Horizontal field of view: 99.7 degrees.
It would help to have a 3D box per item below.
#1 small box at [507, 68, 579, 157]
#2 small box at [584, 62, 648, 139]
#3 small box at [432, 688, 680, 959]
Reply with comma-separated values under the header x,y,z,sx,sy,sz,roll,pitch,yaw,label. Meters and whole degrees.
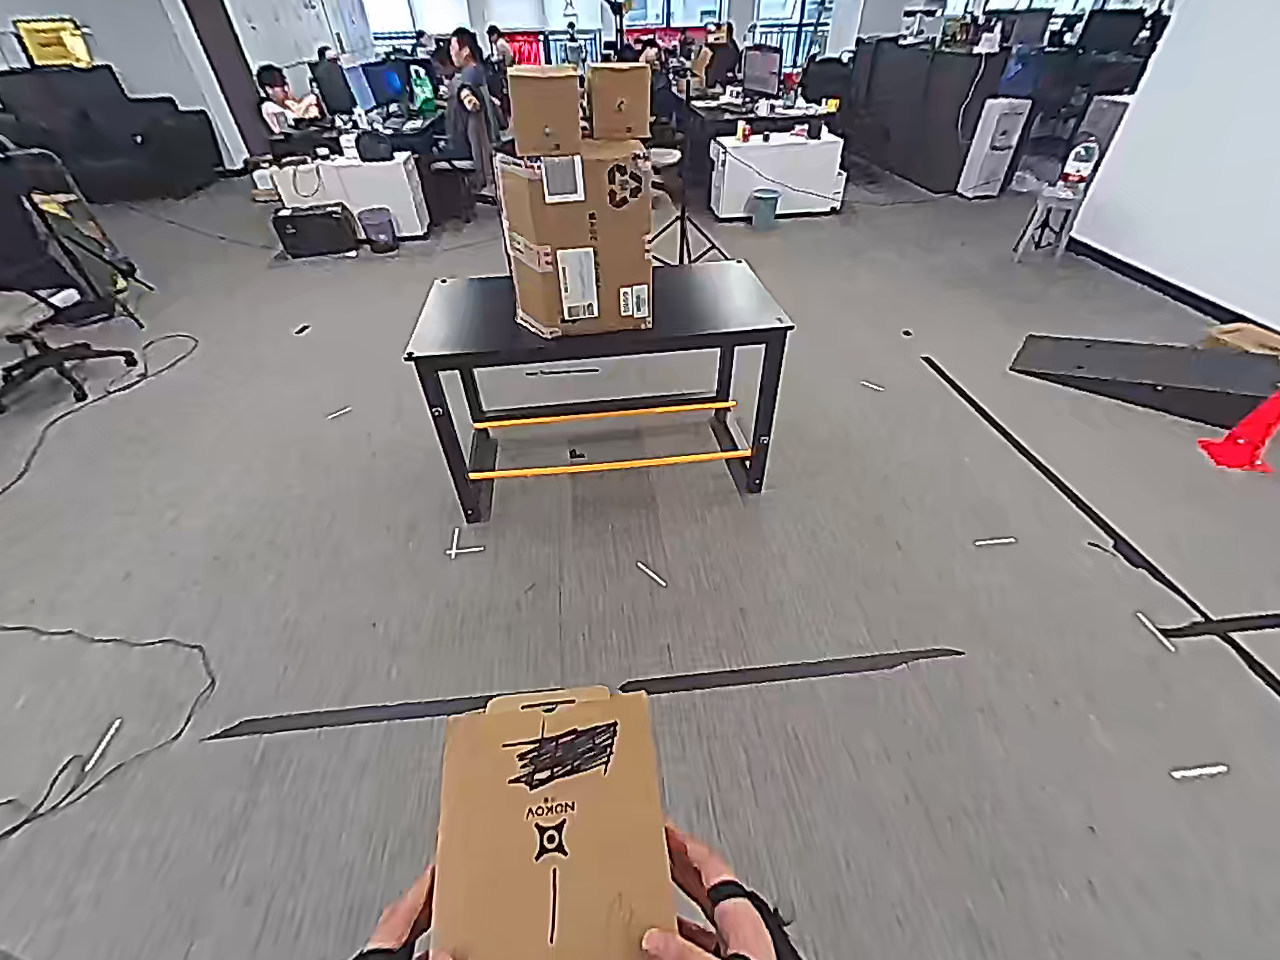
x,y,z,sx,sy,sz,roll,pitch,yaw,label
-0.248,-0.943,1.388,0.168,0.176,0.179,-7,43,-9,small box
-0.071,-1.102,1.572,0.168,0.176,0.179,-6,42,-8,small box
-0.066,0.302,0.466,0.168,0.176,0.179,-6,52,-5,small box
